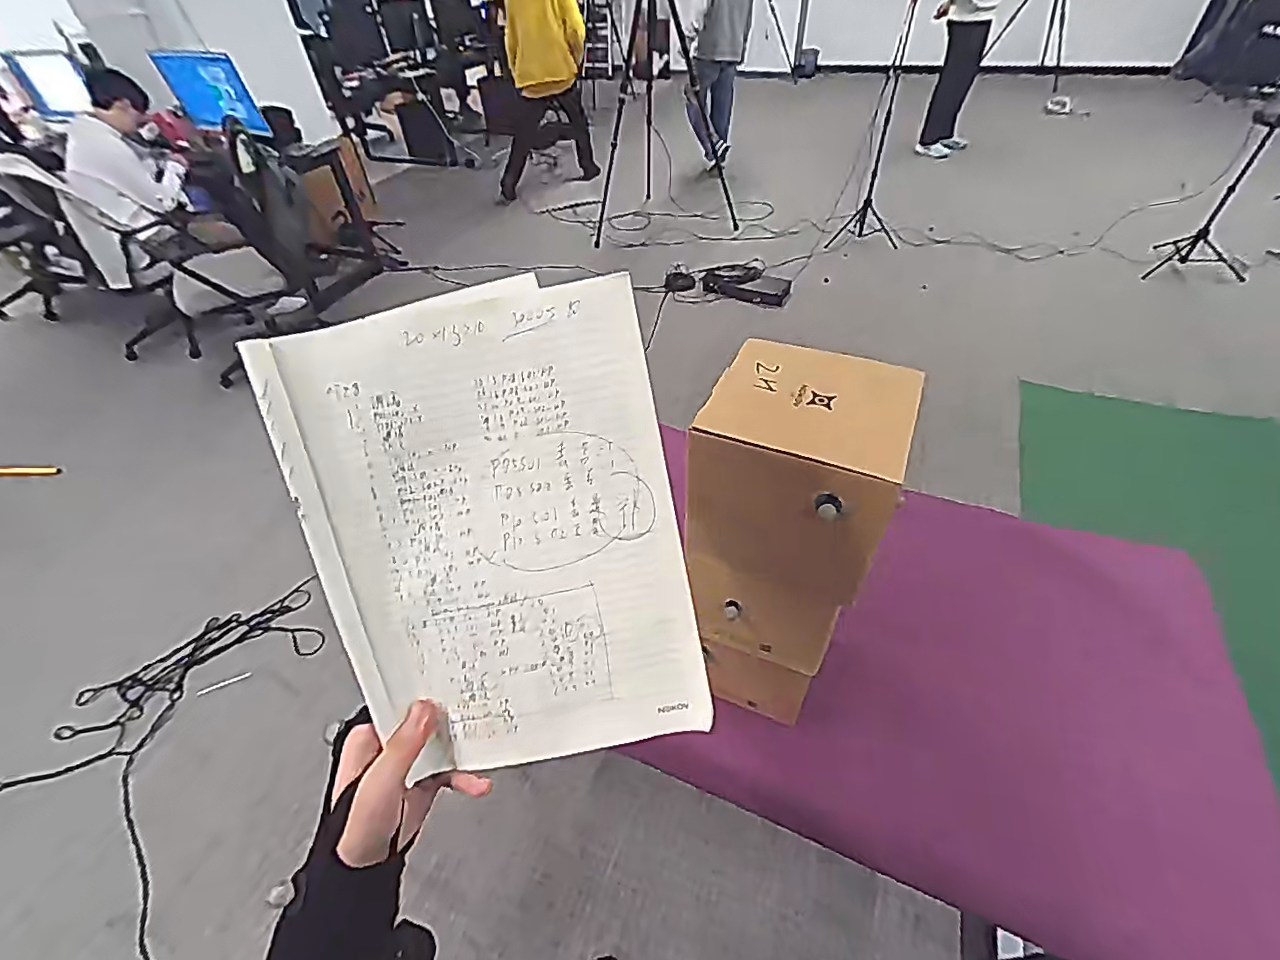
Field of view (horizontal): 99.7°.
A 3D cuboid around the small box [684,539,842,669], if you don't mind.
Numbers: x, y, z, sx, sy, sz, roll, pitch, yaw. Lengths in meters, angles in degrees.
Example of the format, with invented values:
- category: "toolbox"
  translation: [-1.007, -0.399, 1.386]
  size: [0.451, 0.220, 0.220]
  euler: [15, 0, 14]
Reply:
- category: "small box"
  translation: [0.161, 0.099, 0.661]
  size: [0.168, 0.176, 0.179]
  euler: [16, 47, 19]

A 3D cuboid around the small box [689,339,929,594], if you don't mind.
- category: "small box"
  translation: [0.160, -0.013, 0.539]
  size: [0.179, 0.176, 0.168]
  euler: [17, 47, 21]
